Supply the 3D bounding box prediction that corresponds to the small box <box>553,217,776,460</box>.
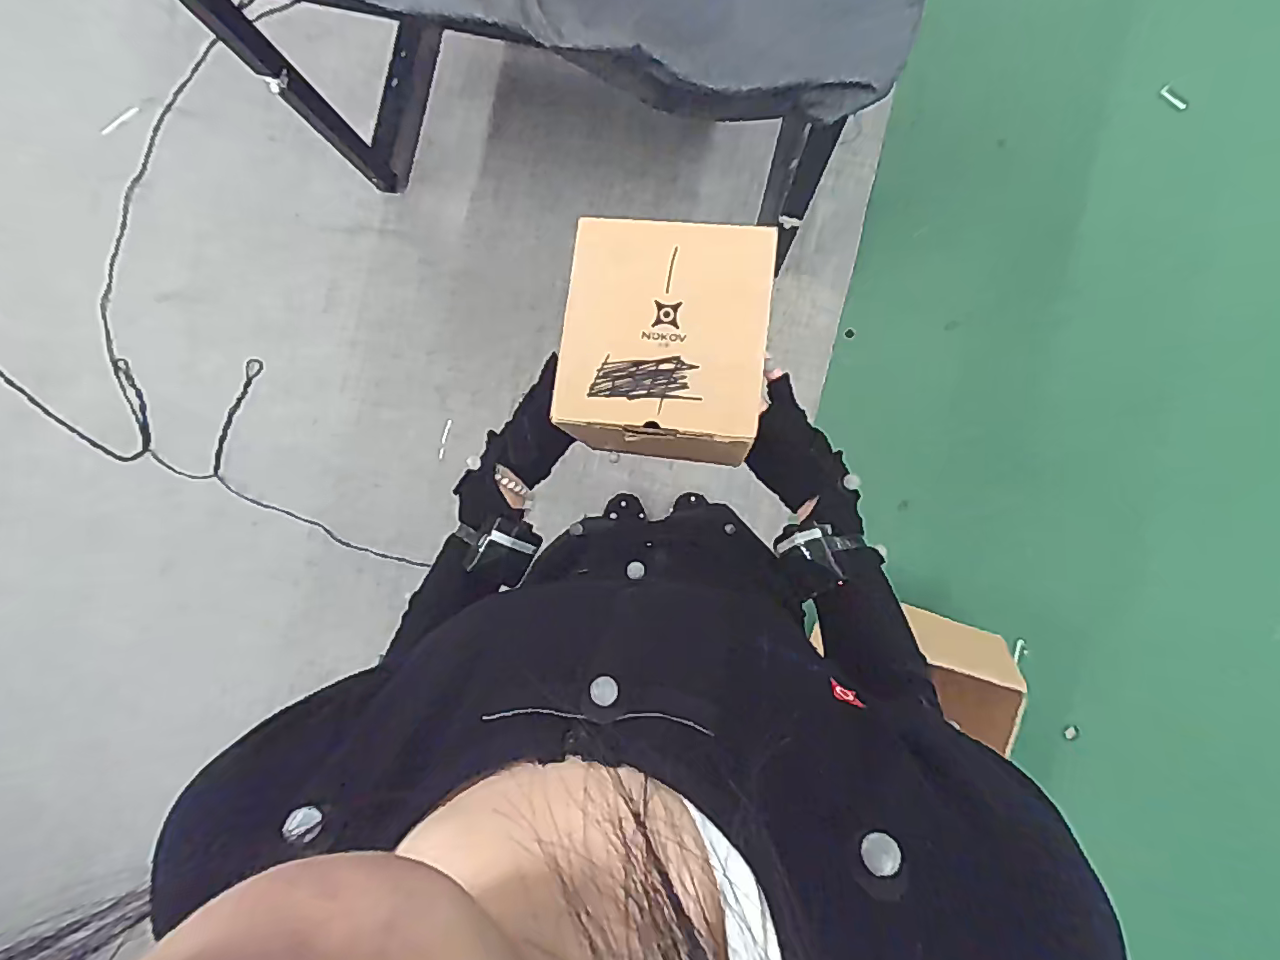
[{"bbox_3d":[0.027,-0.118,0.515,0.168,0.176,0.179,6,85,6],"label":"small box"}]
